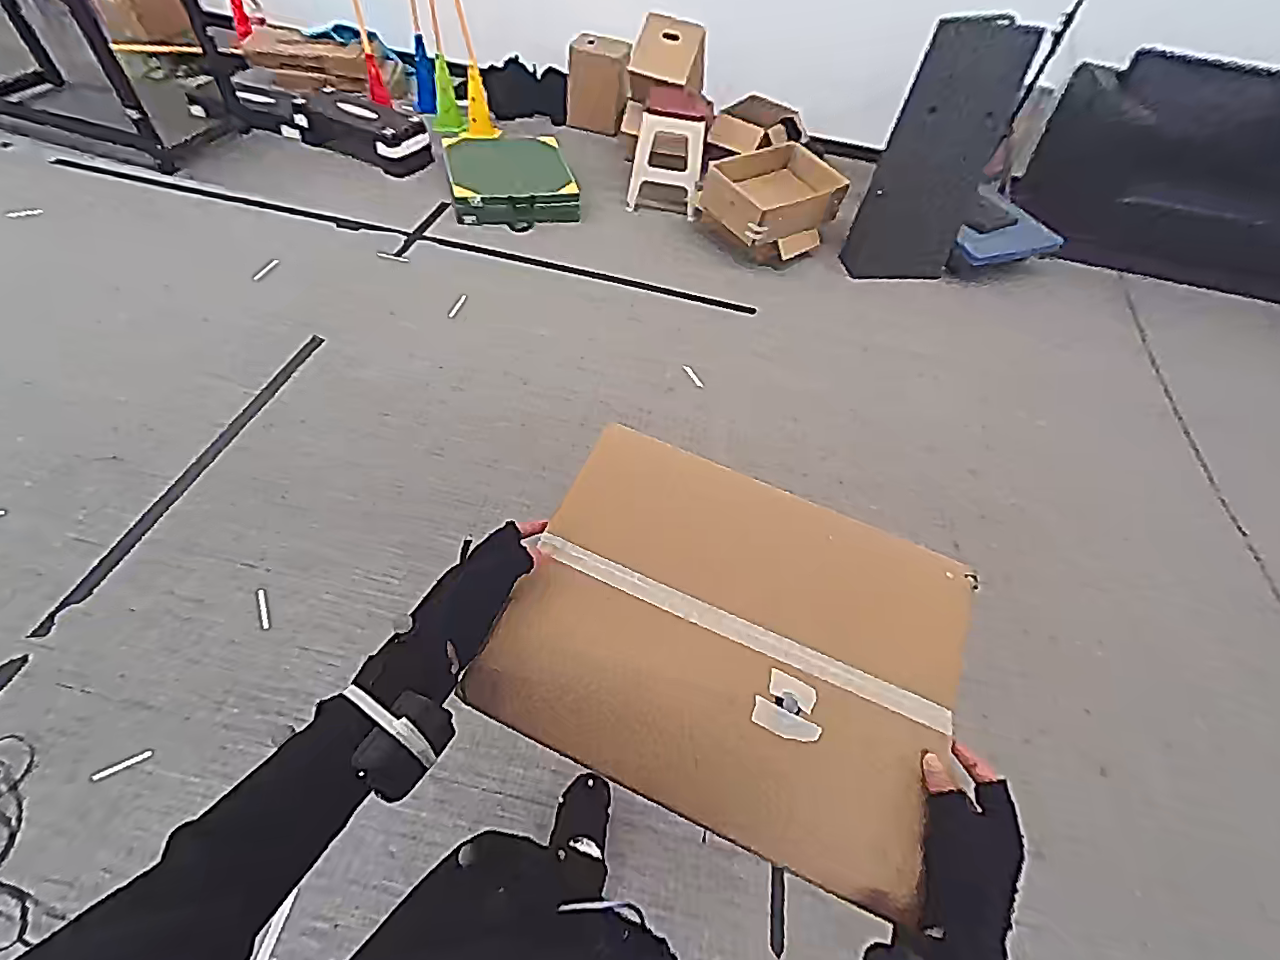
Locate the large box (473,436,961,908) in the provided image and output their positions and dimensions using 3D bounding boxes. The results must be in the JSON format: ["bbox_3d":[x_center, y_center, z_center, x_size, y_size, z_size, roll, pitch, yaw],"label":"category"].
[{"bbox_3d":[0.080,0.210,0.648,0.408,0.320,0.320,23,65,8],"label":"large box"}]
